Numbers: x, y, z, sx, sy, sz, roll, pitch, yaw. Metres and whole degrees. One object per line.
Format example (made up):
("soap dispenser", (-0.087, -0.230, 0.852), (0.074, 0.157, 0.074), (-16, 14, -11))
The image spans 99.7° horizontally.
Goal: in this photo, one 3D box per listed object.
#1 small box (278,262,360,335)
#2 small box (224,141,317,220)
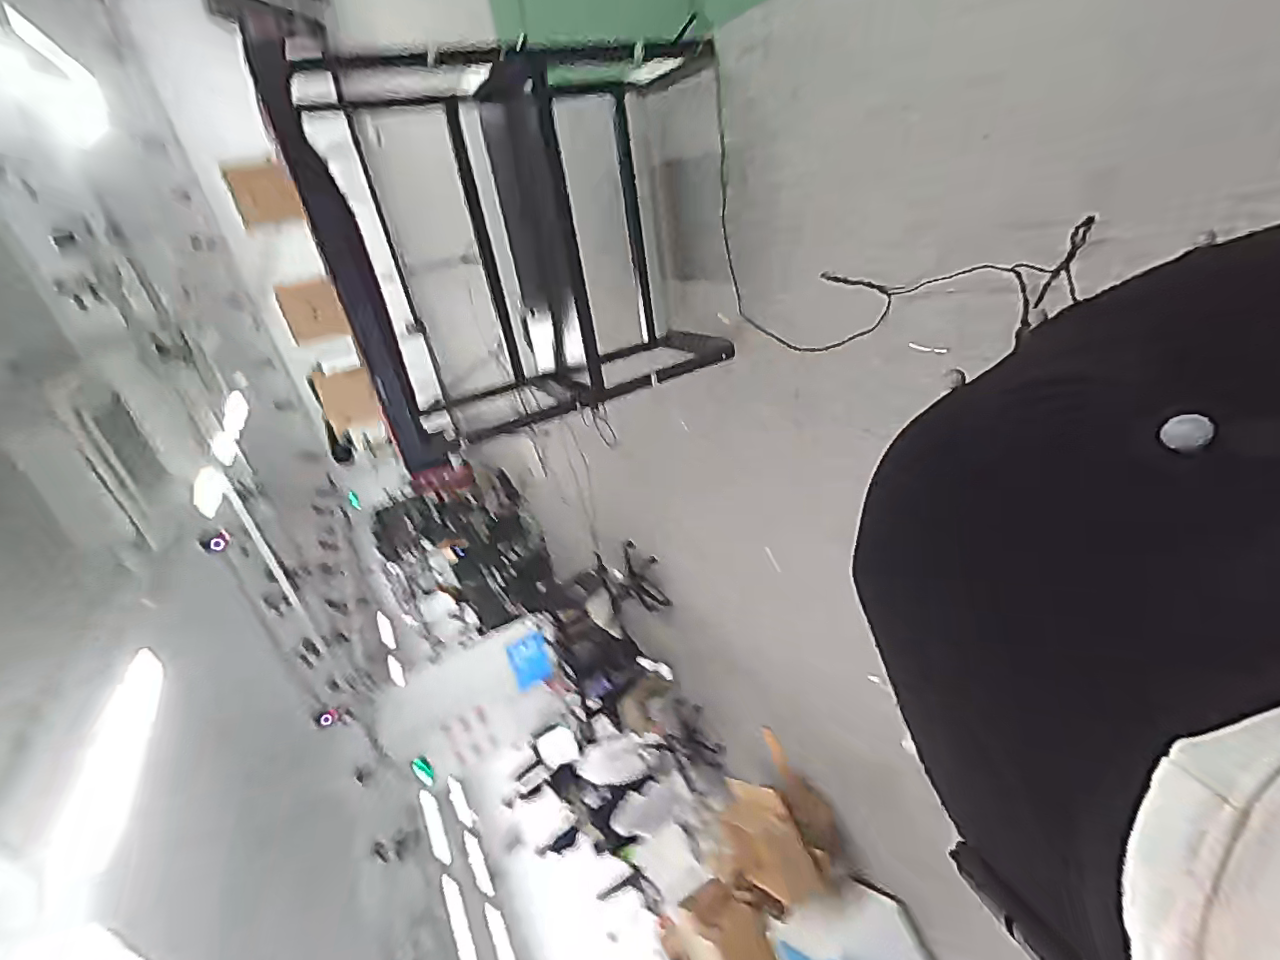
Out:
("small box", (-1.010, -0.578, 1.703), (0.168, 0.176, 0.179), (40, 145, 50))
("small box", (-1.057, -0.864, 1.560), (0.168, 0.176, 0.179), (41, 145, 49))
